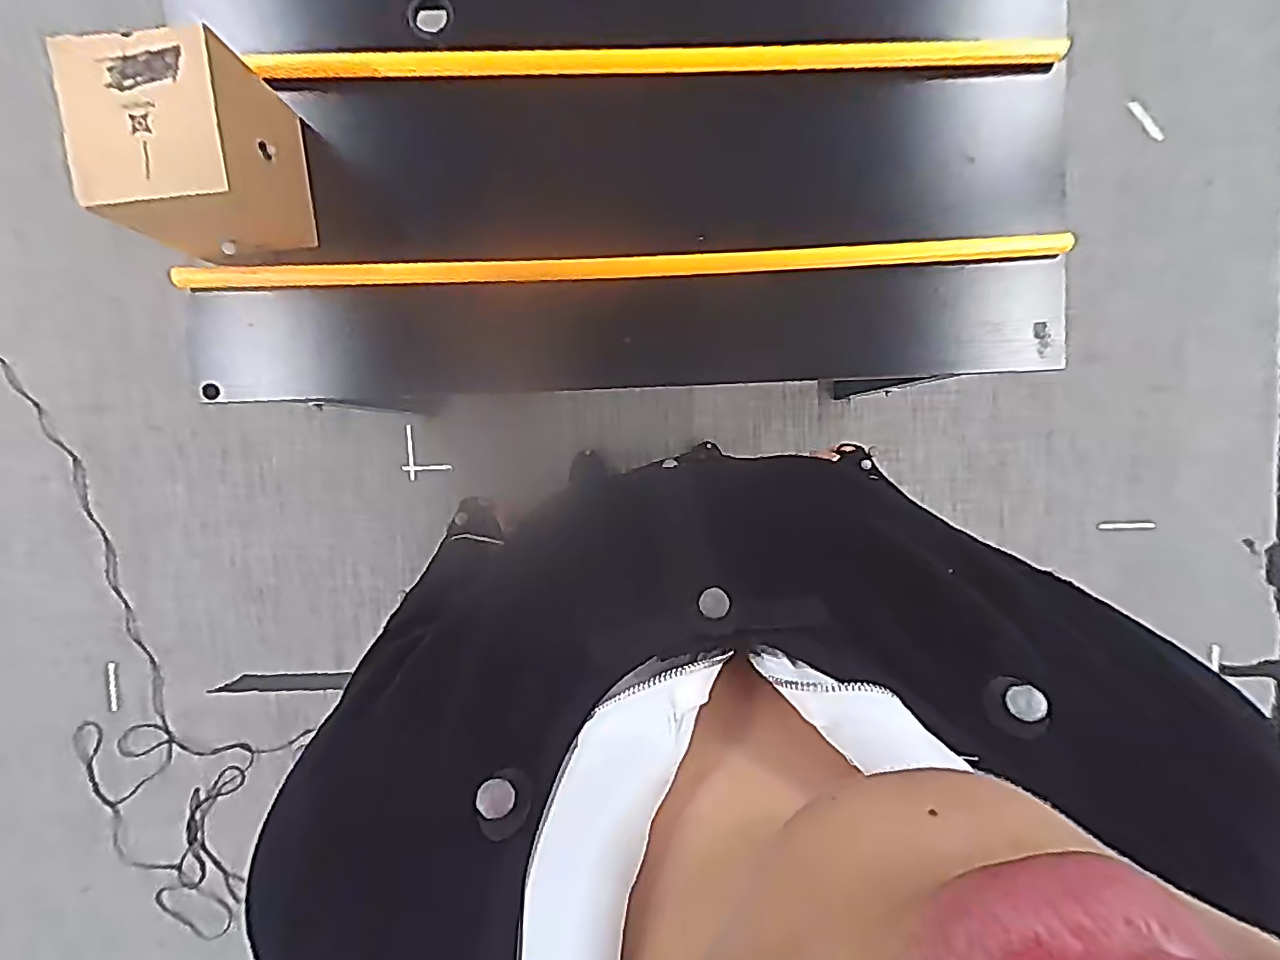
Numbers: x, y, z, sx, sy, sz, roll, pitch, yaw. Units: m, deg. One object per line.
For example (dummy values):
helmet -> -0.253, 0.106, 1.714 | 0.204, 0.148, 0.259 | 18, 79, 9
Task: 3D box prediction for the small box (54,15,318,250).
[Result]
small box -> -0.523, -0.400, 0.650 | 0.168, 0.176, 0.179 | -6, 95, 0
